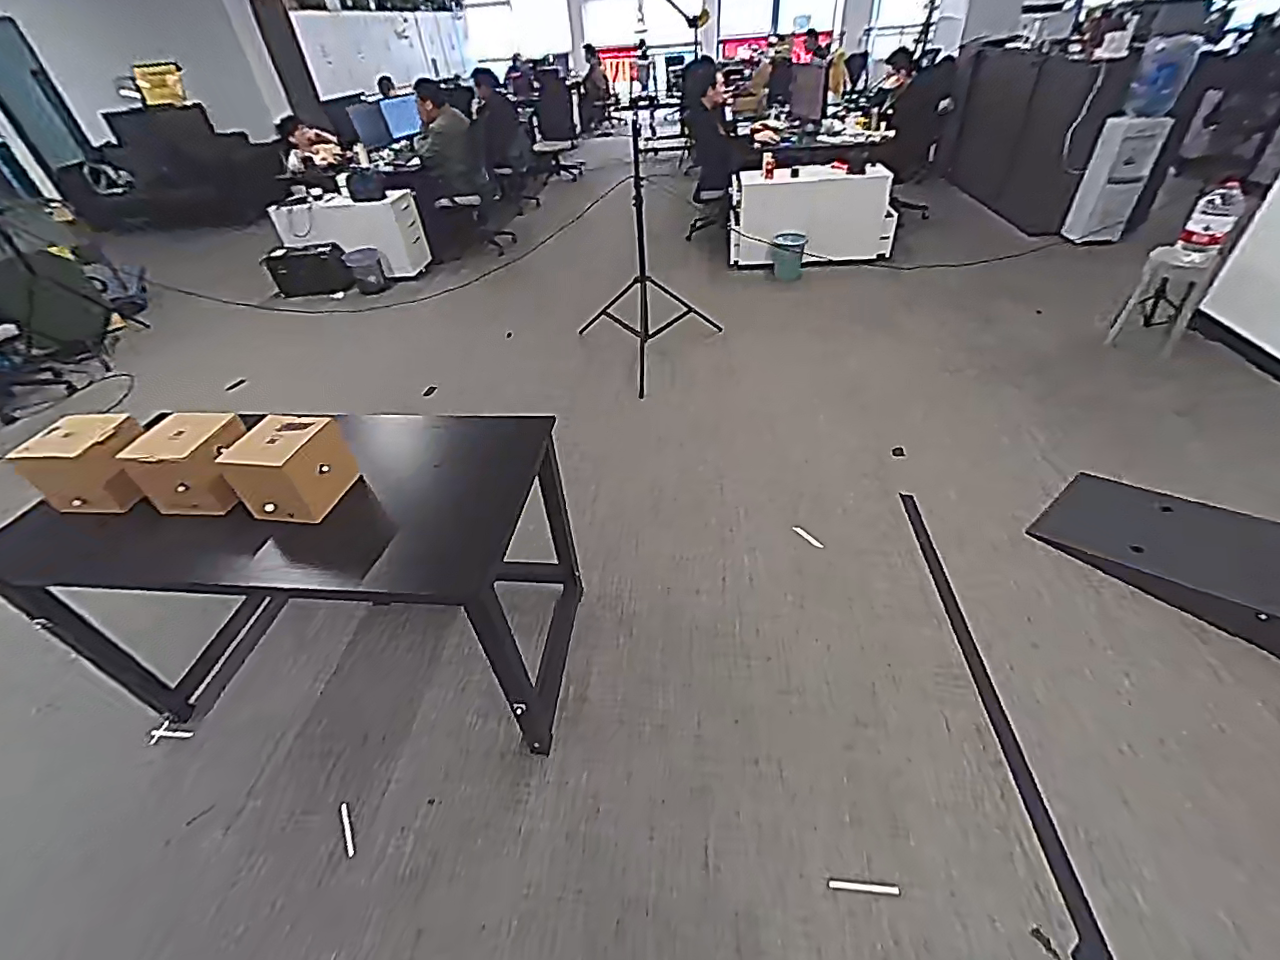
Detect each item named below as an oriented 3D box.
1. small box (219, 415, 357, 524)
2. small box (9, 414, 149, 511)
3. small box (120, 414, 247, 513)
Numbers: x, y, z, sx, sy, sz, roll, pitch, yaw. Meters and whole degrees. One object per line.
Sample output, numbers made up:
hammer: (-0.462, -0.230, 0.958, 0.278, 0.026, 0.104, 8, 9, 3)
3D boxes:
small box: (-0.773, -0.025, 1.216, 0.168, 0.176, 0.179, 4, 41, 10)
small box: (-1.280, -0.039, 1.281, 0.179, 0.176, 0.168, 1, 40, 5)
small box: (-1.019, -0.038, 1.258, 0.168, 0.176, 0.179, 1, 39, 6)
